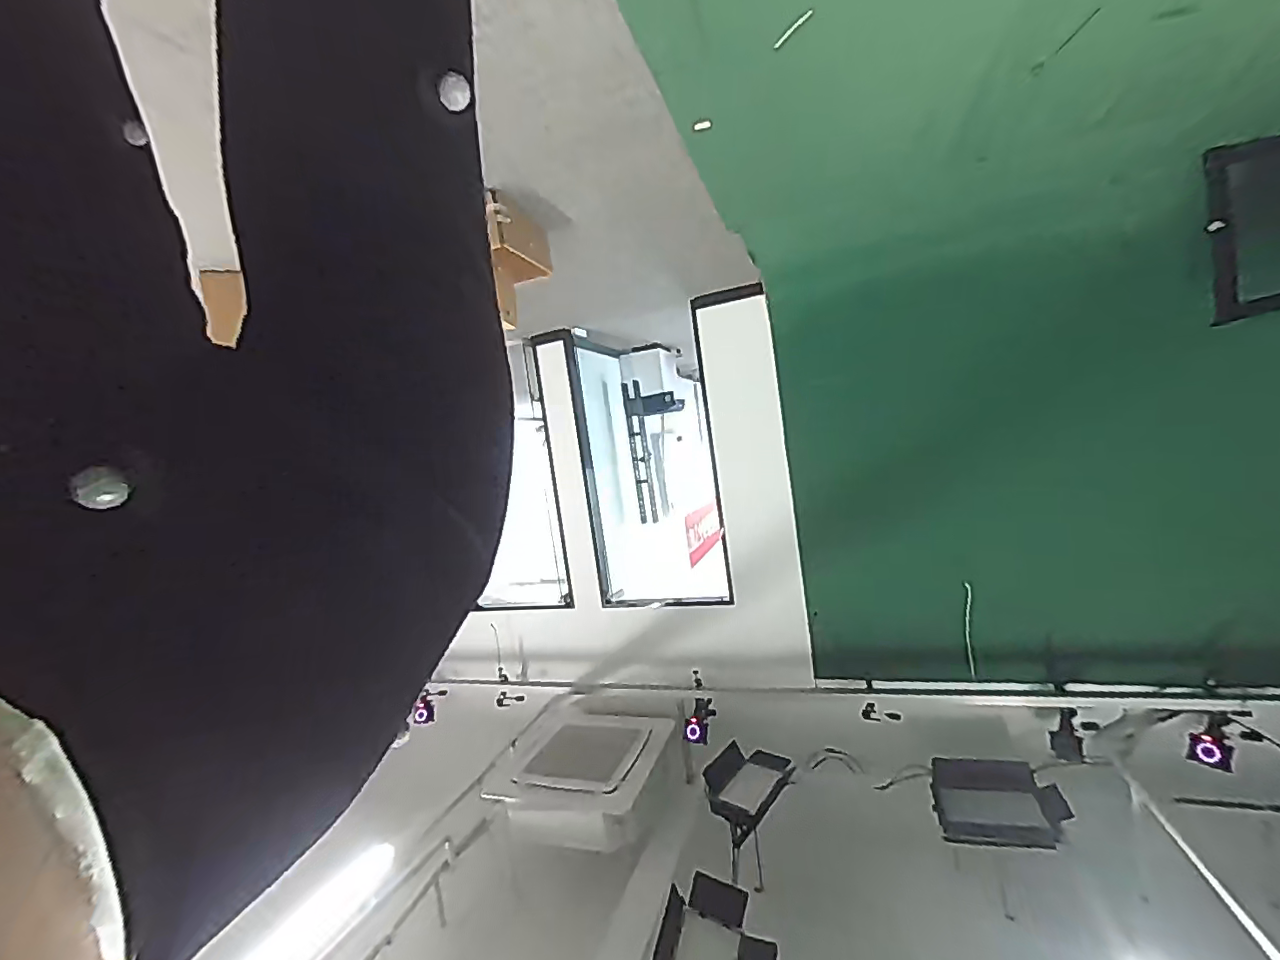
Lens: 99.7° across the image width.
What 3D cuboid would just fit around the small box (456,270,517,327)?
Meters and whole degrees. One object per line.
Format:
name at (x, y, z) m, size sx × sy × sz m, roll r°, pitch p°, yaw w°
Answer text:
small box at (-0.587, -0.695, 2.074) m, size 0.168 × 0.176 × 0.179 m, roll -5°, pitch -176°, yaw 10°

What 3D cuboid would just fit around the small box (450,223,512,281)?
small box at (-0.603, -0.856, 2.057) m, size 0.168 × 0.176 × 0.179 m, roll -4°, pitch -176°, yaw 14°
